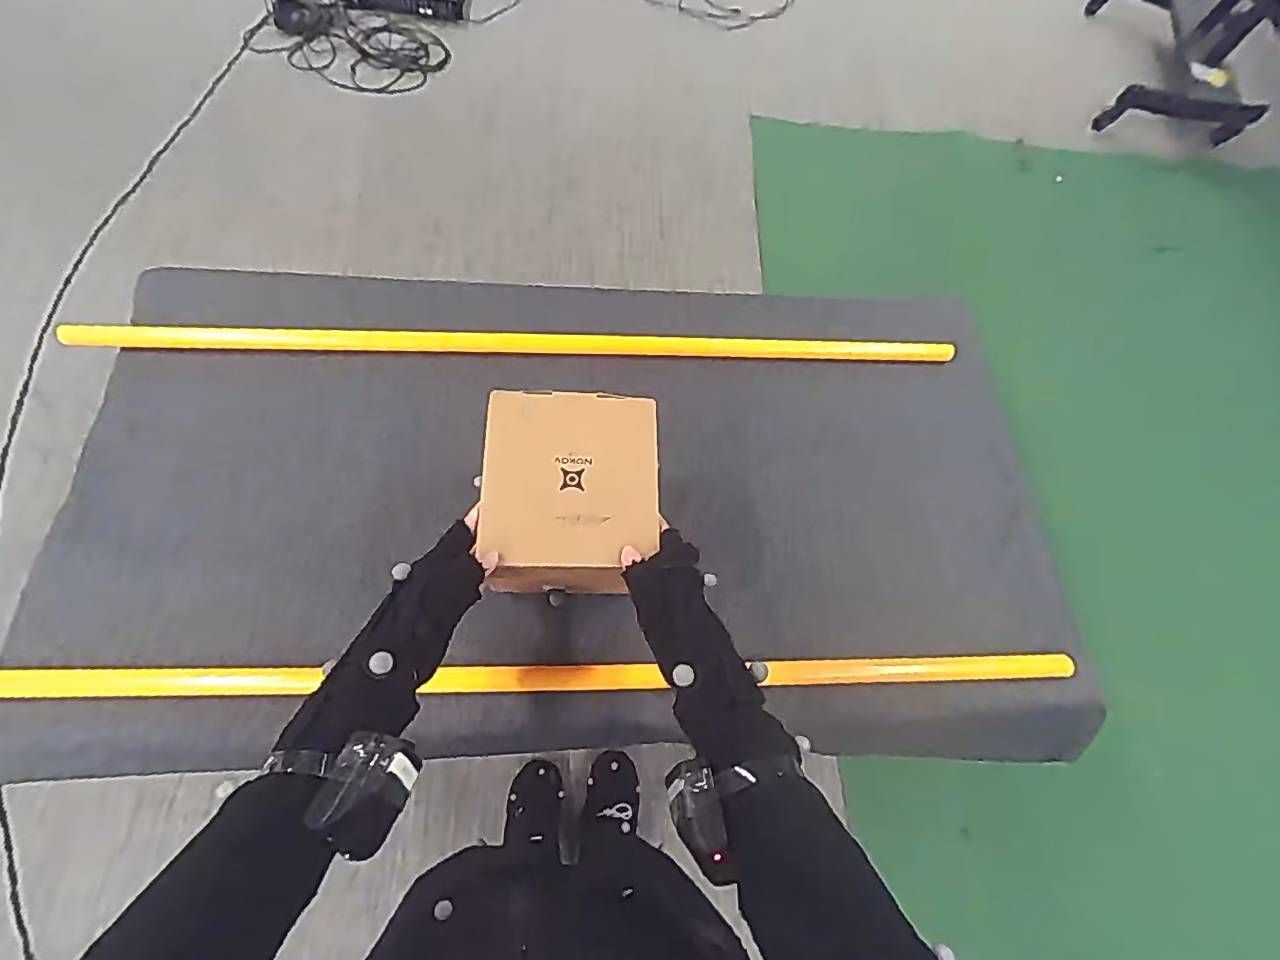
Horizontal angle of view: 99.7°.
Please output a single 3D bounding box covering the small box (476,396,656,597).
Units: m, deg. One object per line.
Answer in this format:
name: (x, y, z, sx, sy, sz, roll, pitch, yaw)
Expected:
small box: (-0.078, 0.027, 0.590, 0.168, 0.176, 0.179, 1, 71, -7)
